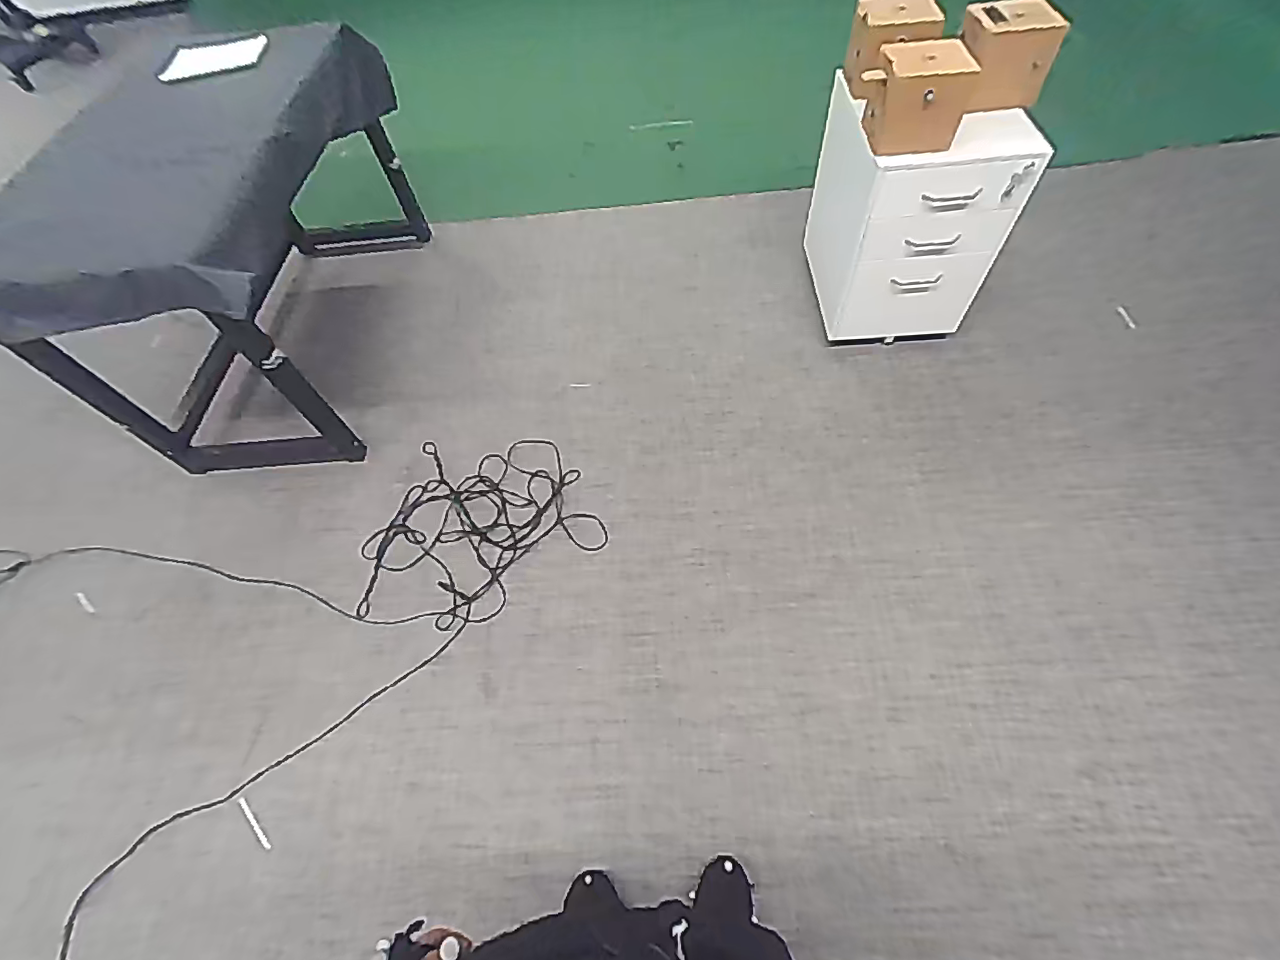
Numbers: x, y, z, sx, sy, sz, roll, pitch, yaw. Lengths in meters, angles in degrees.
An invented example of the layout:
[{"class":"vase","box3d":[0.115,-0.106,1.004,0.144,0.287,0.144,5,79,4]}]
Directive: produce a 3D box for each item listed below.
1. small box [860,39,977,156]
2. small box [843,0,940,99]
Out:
[{"class":"small box","box3d":[0.636,-0.885,1.259,0.179,0.176,0.168,-2,58,4]},{"class":"small box","box3d":[0.640,-1.120,1.404,0.179,0.176,0.168,-1,60,3]}]
